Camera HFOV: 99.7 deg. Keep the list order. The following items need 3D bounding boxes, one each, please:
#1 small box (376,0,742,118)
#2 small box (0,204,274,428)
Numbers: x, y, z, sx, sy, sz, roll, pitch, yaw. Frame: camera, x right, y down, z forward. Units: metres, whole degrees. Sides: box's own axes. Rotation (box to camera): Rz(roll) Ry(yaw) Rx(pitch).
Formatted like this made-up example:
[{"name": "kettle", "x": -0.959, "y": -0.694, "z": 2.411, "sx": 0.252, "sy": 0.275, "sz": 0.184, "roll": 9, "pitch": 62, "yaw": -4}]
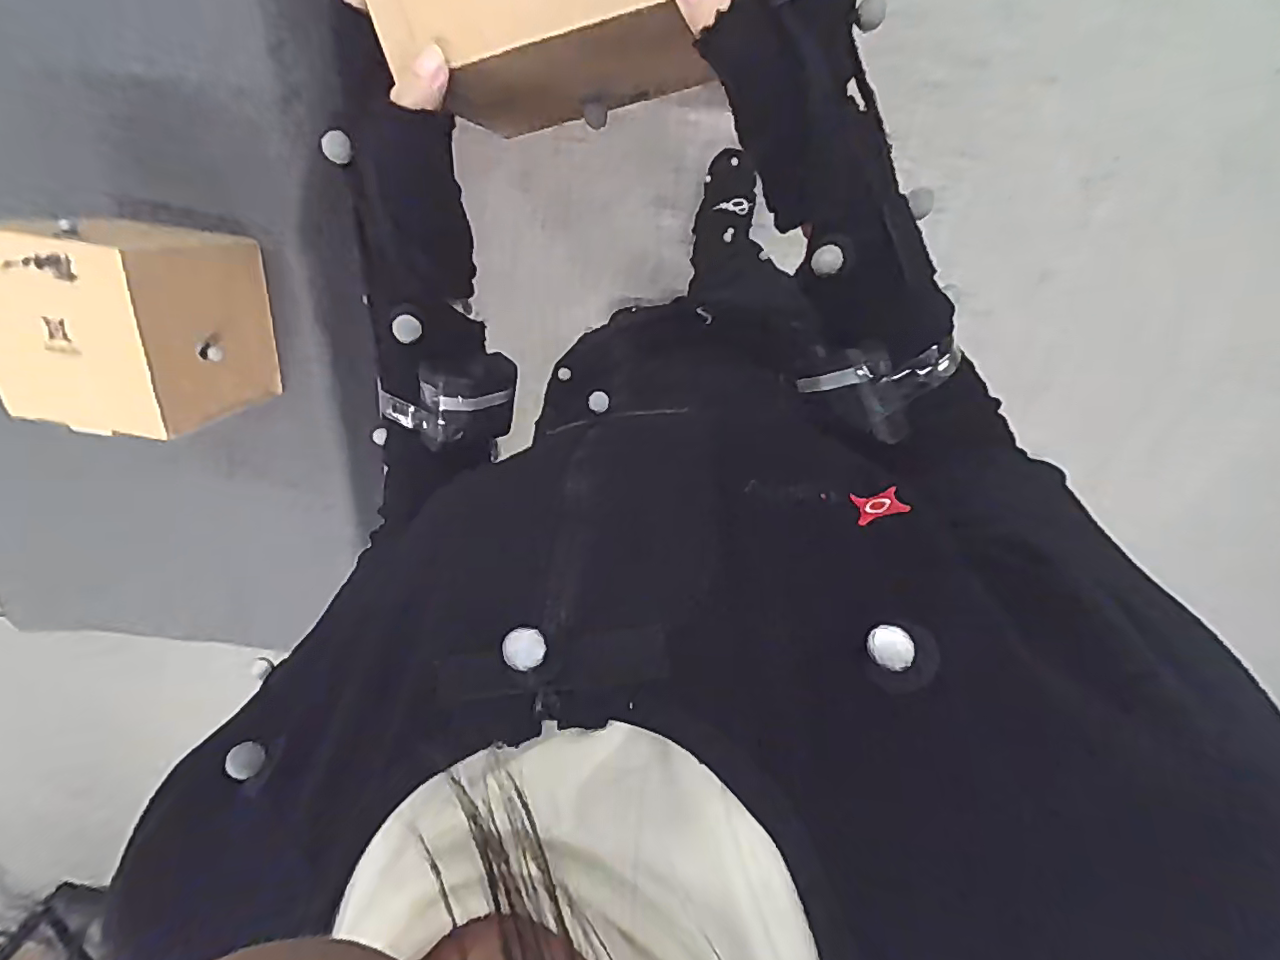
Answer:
[{"name": "small box", "x": -0.042, "y": -0.314, "z": 0.273, "sx": 0.168, "sy": 0.176, "sz": 0.179, "roll": -7, "pitch": 115, "yaw": 10}, {"name": "small box", "x": -0.517, "y": -0.175, "z": 0.558, "sx": 0.168, "sy": 0.176, "sz": 0.179, "roll": 9, "pitch": 117, "yaw": 0}]
